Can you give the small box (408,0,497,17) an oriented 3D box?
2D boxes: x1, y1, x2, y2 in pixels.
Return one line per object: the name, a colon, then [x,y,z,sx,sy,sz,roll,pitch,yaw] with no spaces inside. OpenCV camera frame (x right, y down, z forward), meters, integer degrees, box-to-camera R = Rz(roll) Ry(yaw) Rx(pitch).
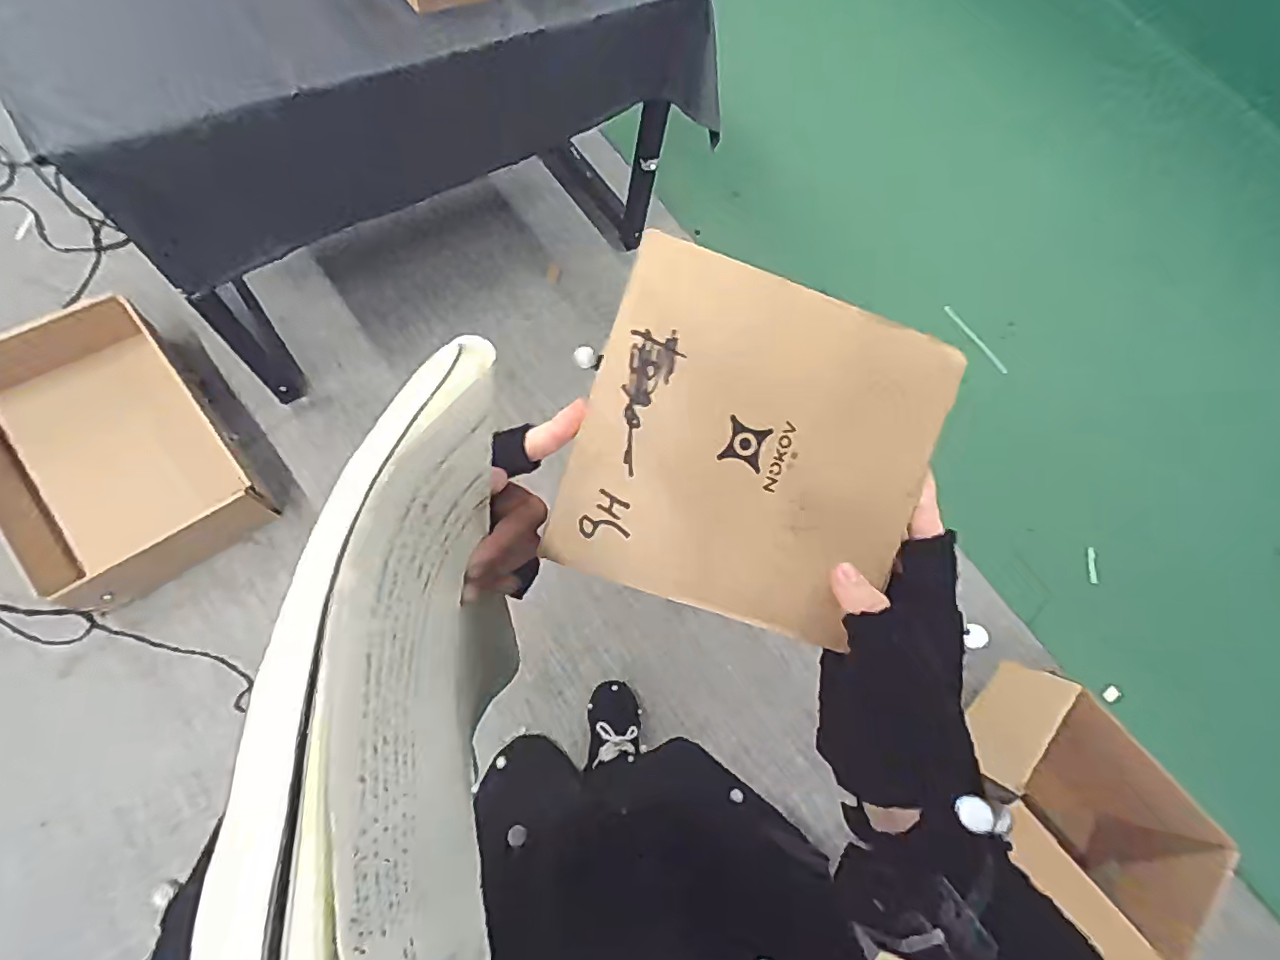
small box: [-0.347,-0.953,0.932,0.179,0.176,0.168,-31,76,-19]
